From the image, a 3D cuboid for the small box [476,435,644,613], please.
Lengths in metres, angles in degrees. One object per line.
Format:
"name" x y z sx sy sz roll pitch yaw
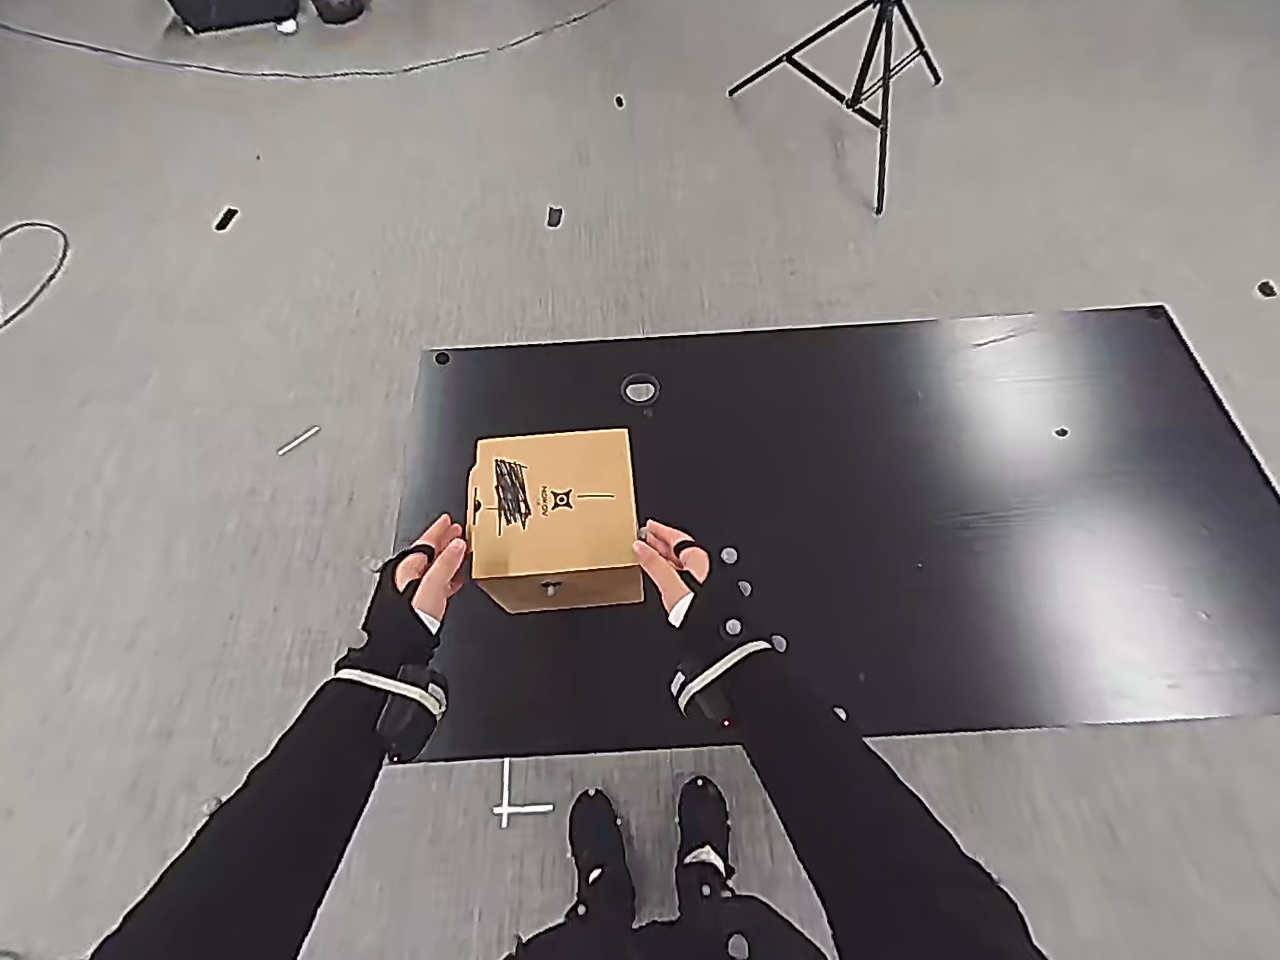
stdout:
"small box" -0.089 0.062 0.669 0.179 0.176 0.168 -5 65 -1
